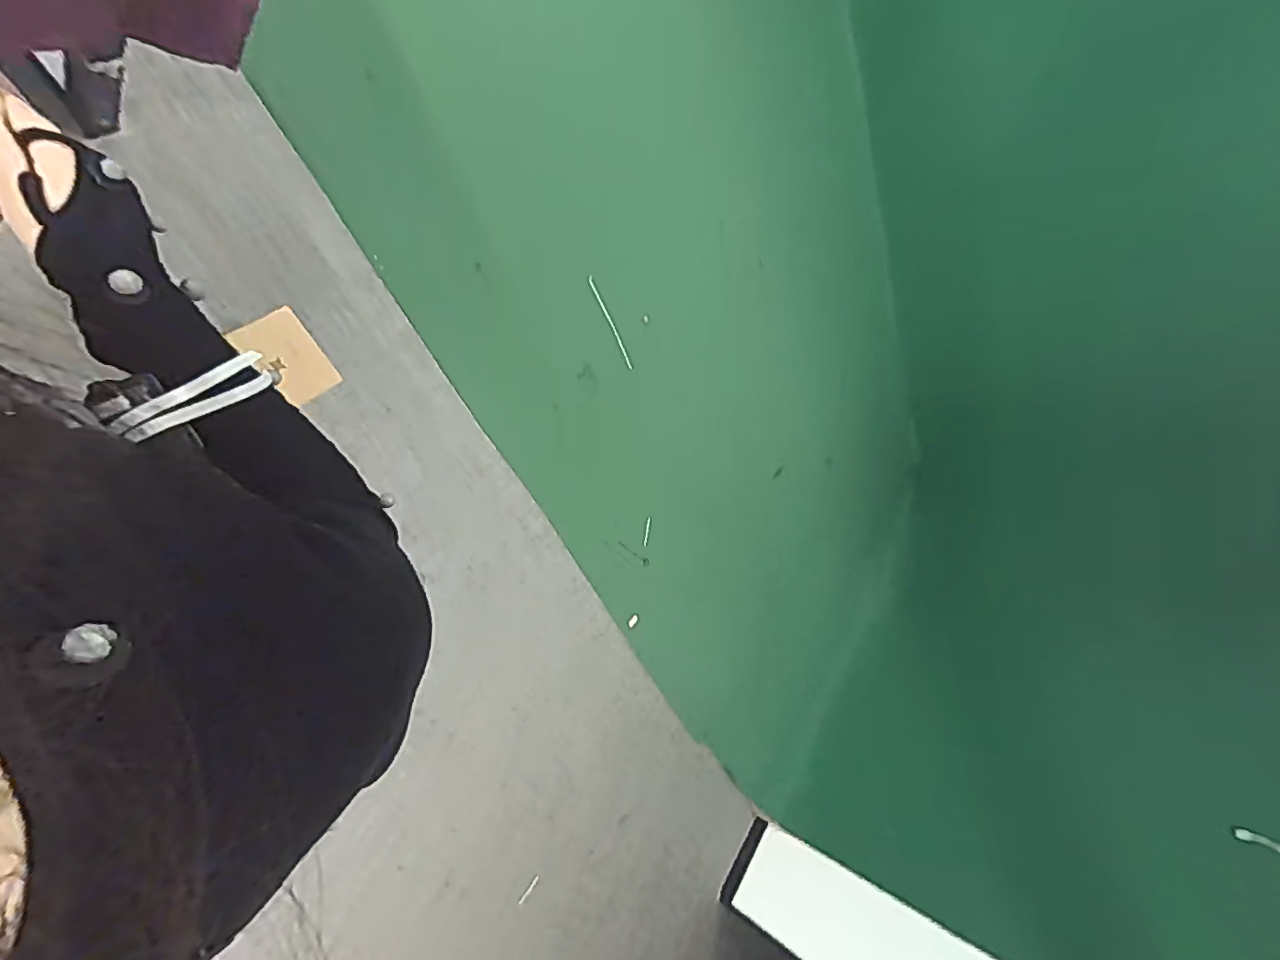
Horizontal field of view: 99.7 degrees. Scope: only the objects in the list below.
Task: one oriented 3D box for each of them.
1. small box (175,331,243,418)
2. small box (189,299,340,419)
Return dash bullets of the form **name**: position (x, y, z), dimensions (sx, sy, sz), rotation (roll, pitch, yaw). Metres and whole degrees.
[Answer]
- **small box**: position (-0.867, -0.248, 1.177), dimensions (0.179, 0.176, 0.168), rotation (-45, 125, -33)
- **small box**: position (-0.745, -0.235, 1.070), dimensions (0.179, 0.176, 0.168), rotation (-47, 128, -31)
